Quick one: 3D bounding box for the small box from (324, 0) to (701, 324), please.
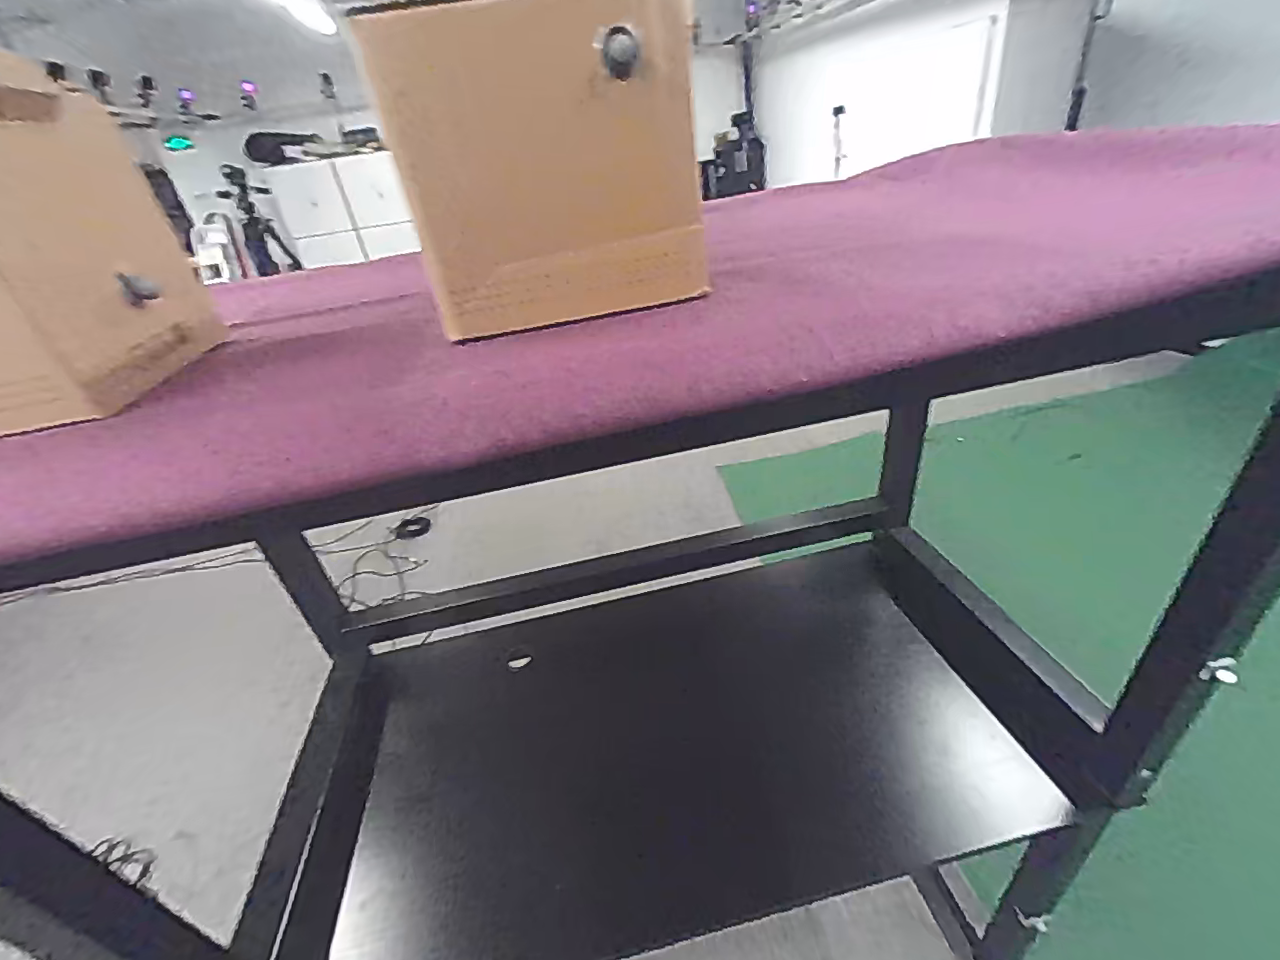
[{"bbox_3d":[-0.068,-0.215,0.367,0.179,0.176,0.168,-12,31,-5],"label":"small box"}]

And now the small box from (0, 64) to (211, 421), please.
[{"bbox_3d":[-0.417,-0.131,0.316,0.179,0.176,0.168,-12,34,-6],"label":"small box"}]
